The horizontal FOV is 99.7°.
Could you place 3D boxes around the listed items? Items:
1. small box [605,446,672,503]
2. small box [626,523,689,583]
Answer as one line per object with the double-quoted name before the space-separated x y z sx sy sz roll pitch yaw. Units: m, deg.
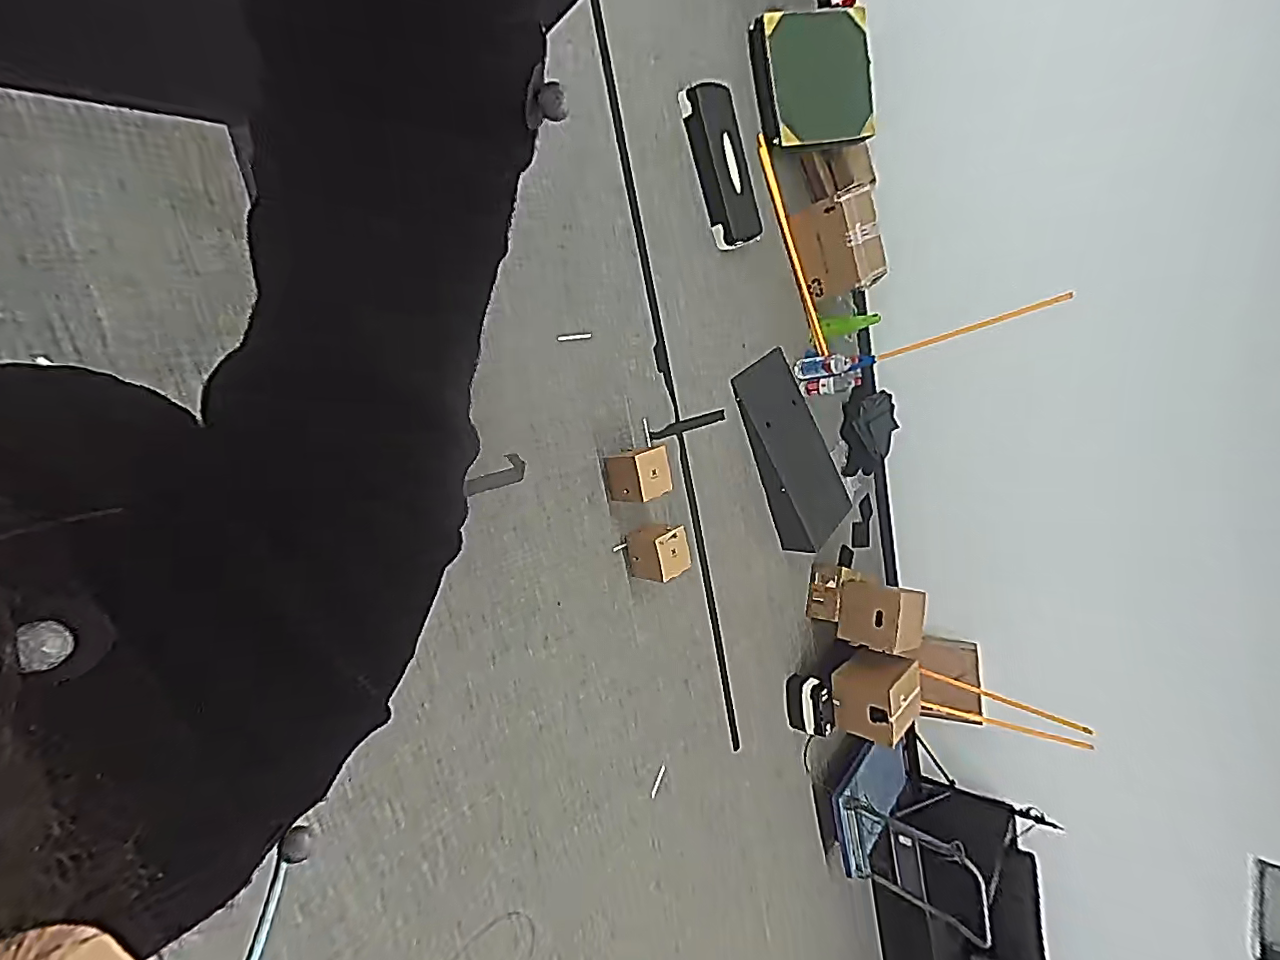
"small box" -0.008 -0.024 2.027 0.168 0.176 0.179 -22 105 -43
"small box" 0.067 0.279 2.102 0.168 0.176 0.179 -22 106 -43
